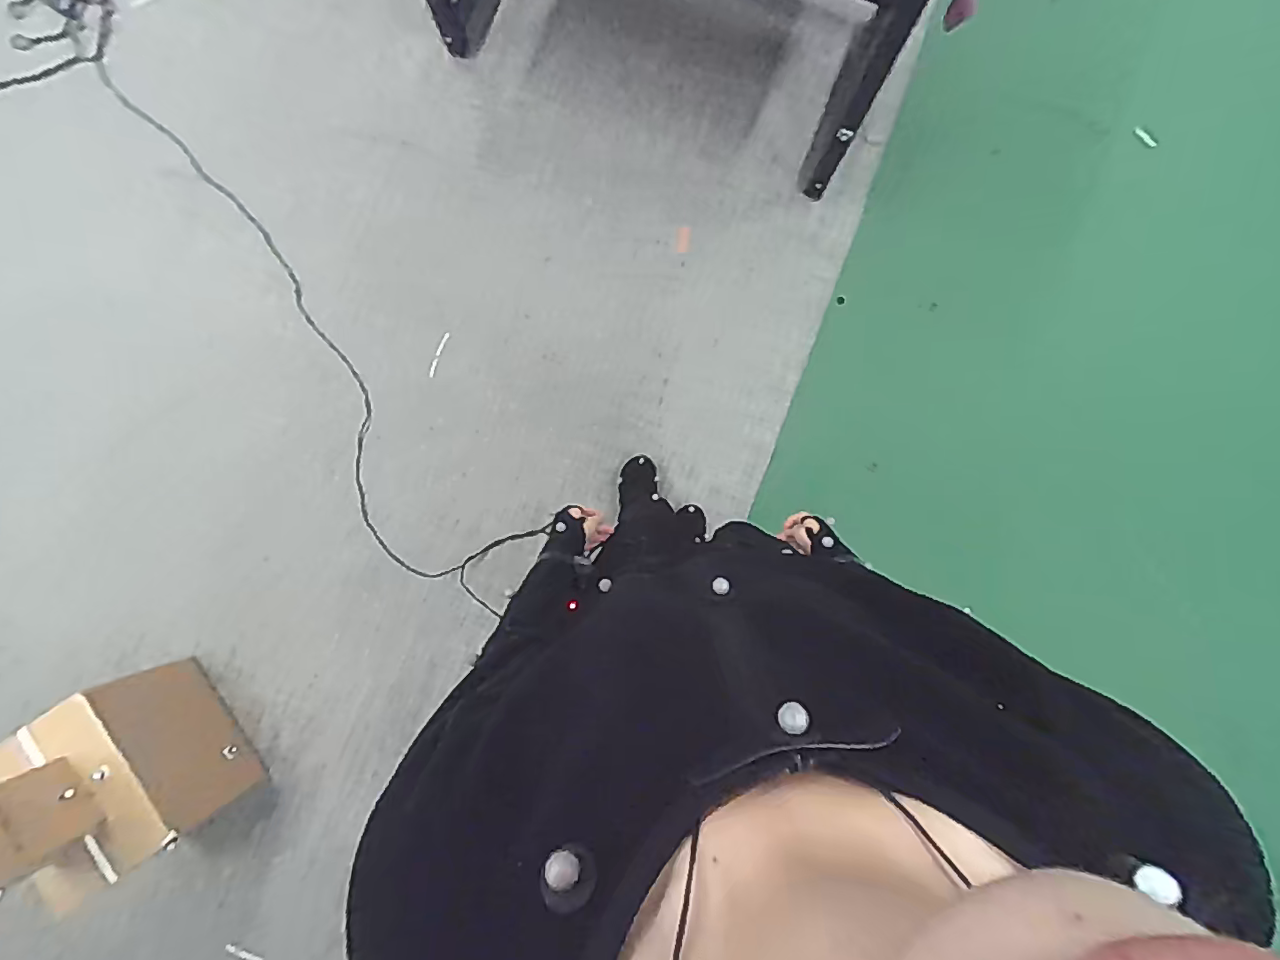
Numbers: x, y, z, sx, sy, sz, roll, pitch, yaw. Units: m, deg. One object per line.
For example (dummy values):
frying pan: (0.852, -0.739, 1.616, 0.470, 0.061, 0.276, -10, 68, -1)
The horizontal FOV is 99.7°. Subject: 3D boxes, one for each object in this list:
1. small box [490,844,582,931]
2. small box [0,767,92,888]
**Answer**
small box: (-0.218, 0.877, 1.083, 0.168, 0.176, 0.179, 13, 87, 2)
small box: (-1.301, 0.722, 1.099, 0.168, 0.176, 0.179, -39, 87, 0)
